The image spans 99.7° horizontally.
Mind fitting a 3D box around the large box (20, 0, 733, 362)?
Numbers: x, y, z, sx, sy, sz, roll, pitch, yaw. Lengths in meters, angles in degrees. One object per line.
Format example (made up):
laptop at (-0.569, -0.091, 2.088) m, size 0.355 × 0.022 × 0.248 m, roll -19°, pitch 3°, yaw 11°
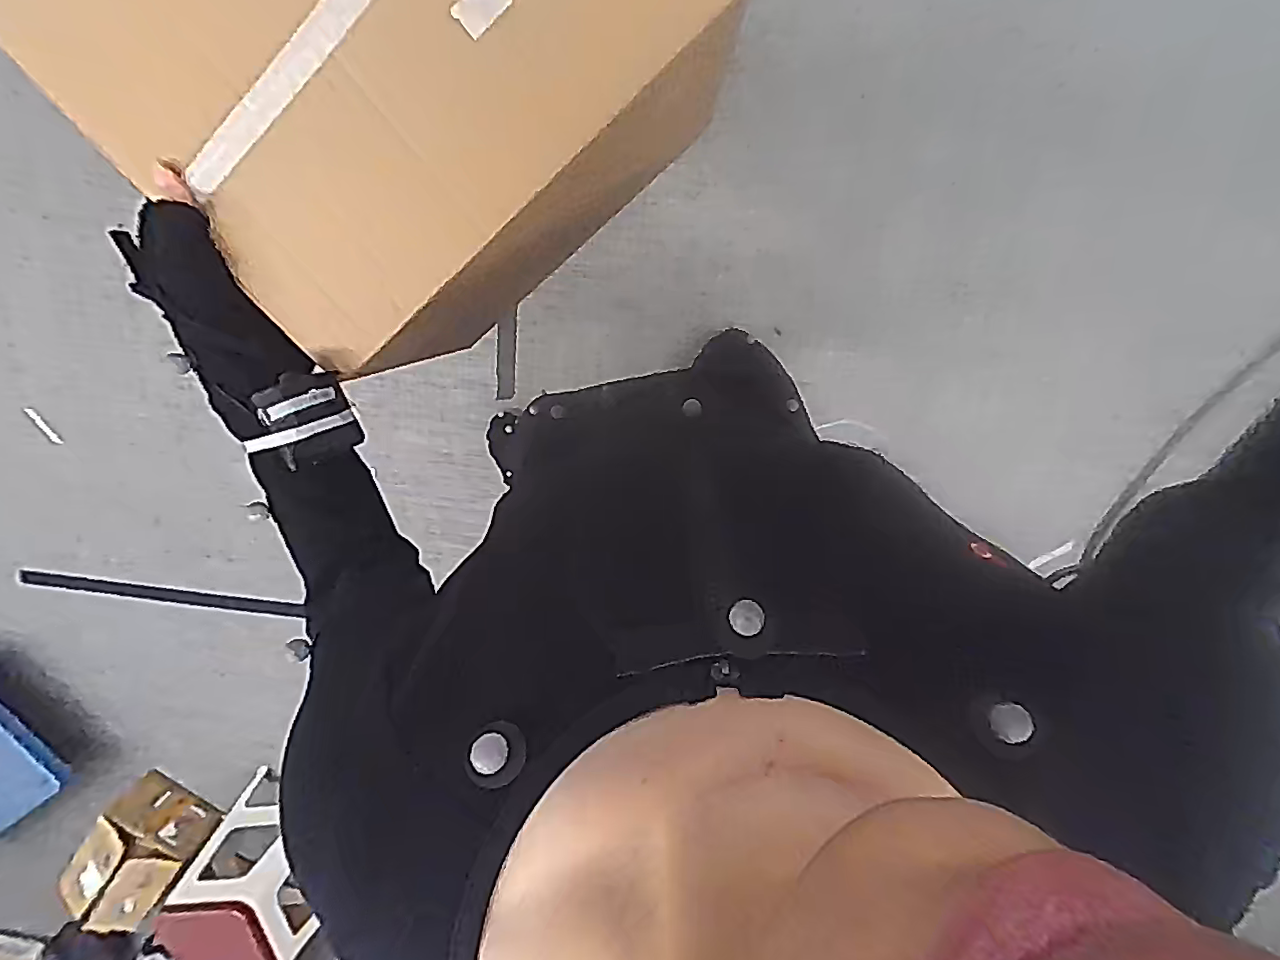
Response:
large box at (-0.174, -0.364, 0.499) m, size 0.408 × 0.320 × 0.320 m, roll -38°, pitch 103°, yaw 12°
